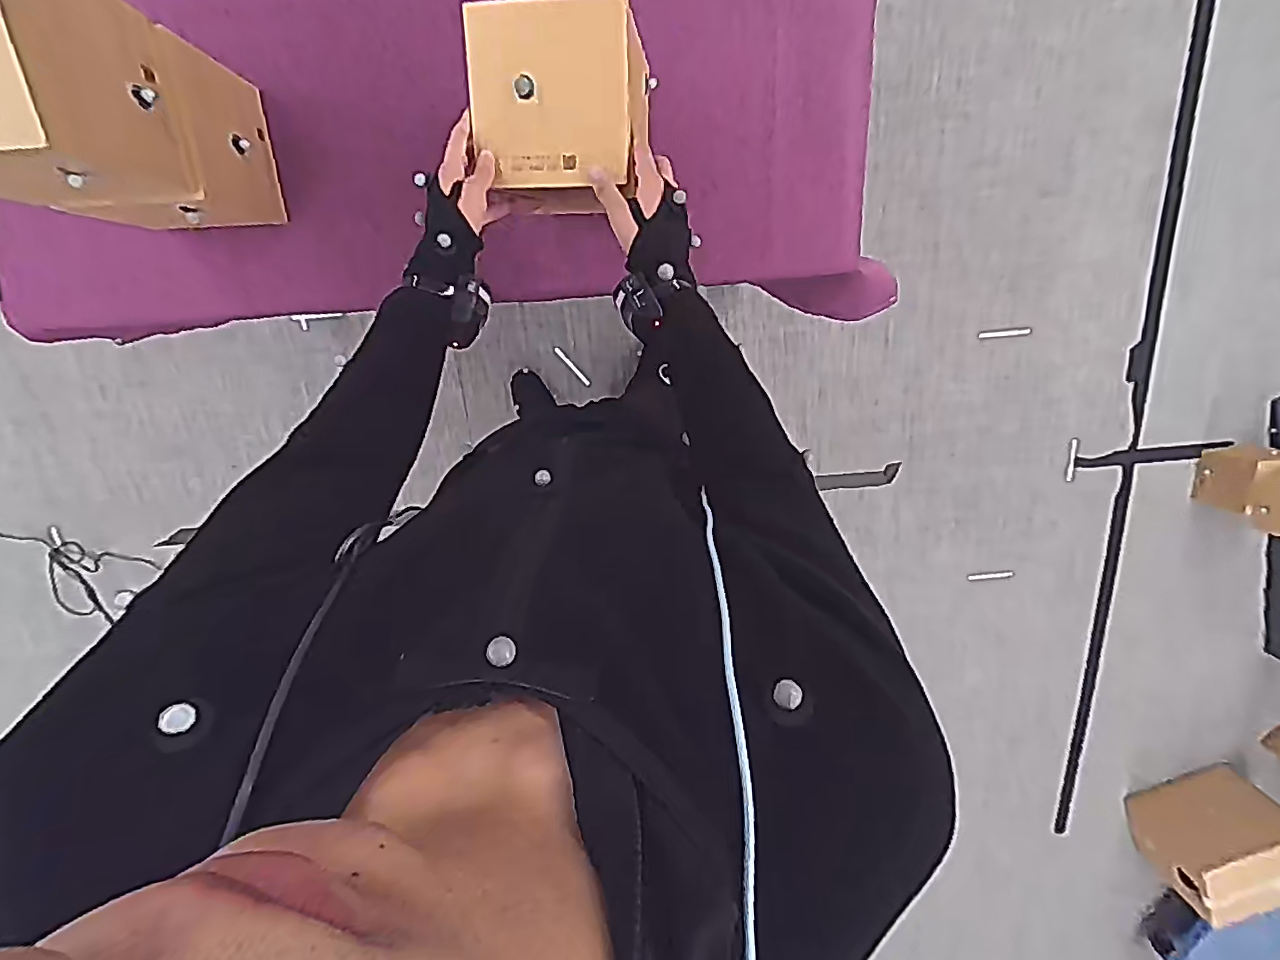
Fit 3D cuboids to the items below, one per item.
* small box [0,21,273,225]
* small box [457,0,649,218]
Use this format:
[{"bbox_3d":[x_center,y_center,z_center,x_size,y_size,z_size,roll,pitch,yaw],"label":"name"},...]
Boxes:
[{"bbox_3d":[-0.576,-0.407,0.644,0.179,0.176,0.168,-3,107,-3],"label":"small box"},{"bbox_3d":[-0.082,-0.407,0.614,0.168,0.179,0.176,3,107,10],"label":"small box"}]
